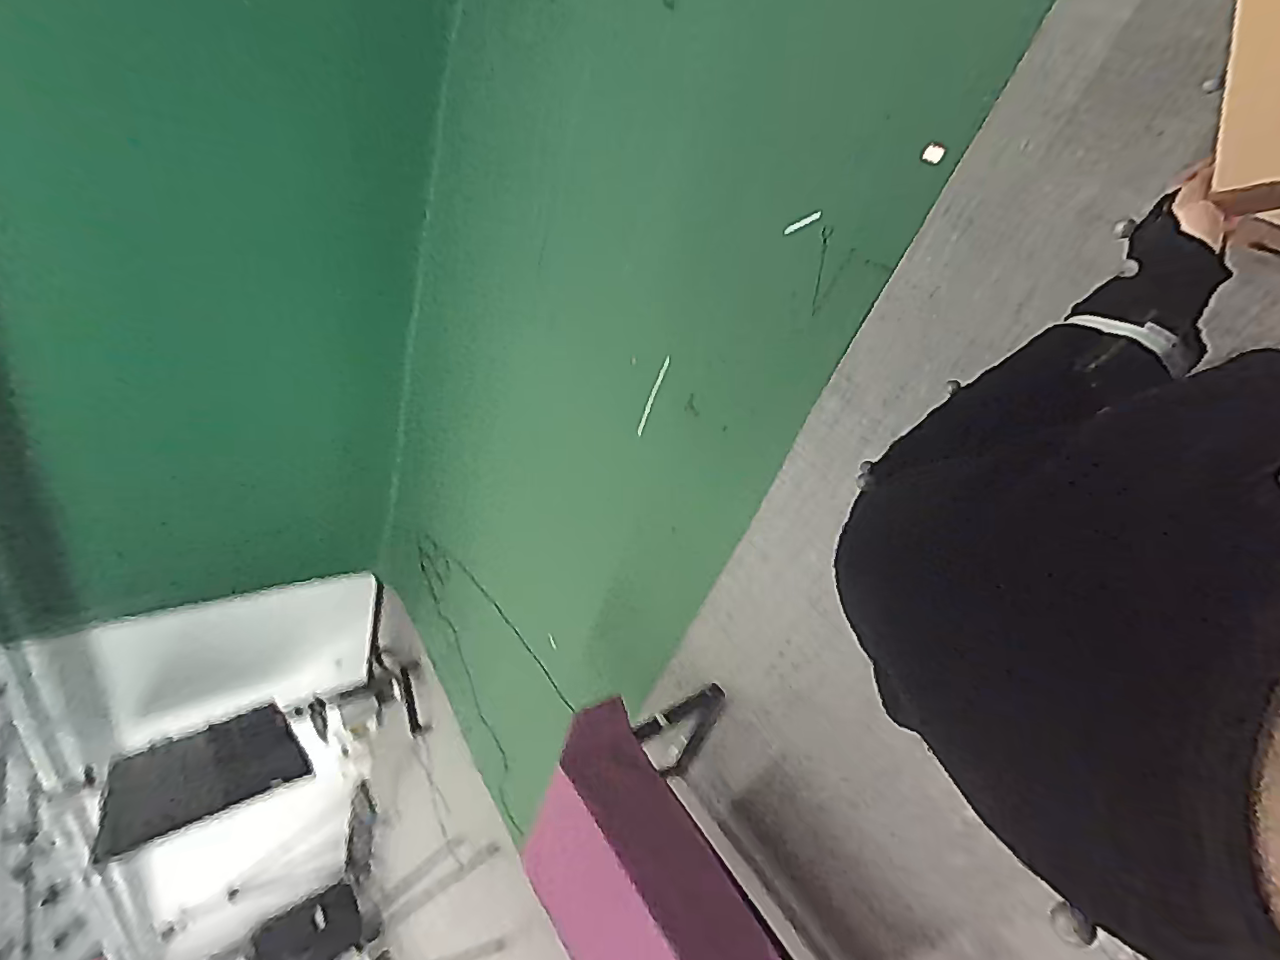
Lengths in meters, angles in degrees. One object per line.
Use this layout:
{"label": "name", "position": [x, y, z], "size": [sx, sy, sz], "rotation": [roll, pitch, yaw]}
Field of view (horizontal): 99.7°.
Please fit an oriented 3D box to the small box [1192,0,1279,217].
{"label": "small box", "position": [0.482, -0.275, 0.336], "size": [0.179, 0.176, 0.168], "rotation": [8, 110, 46]}
